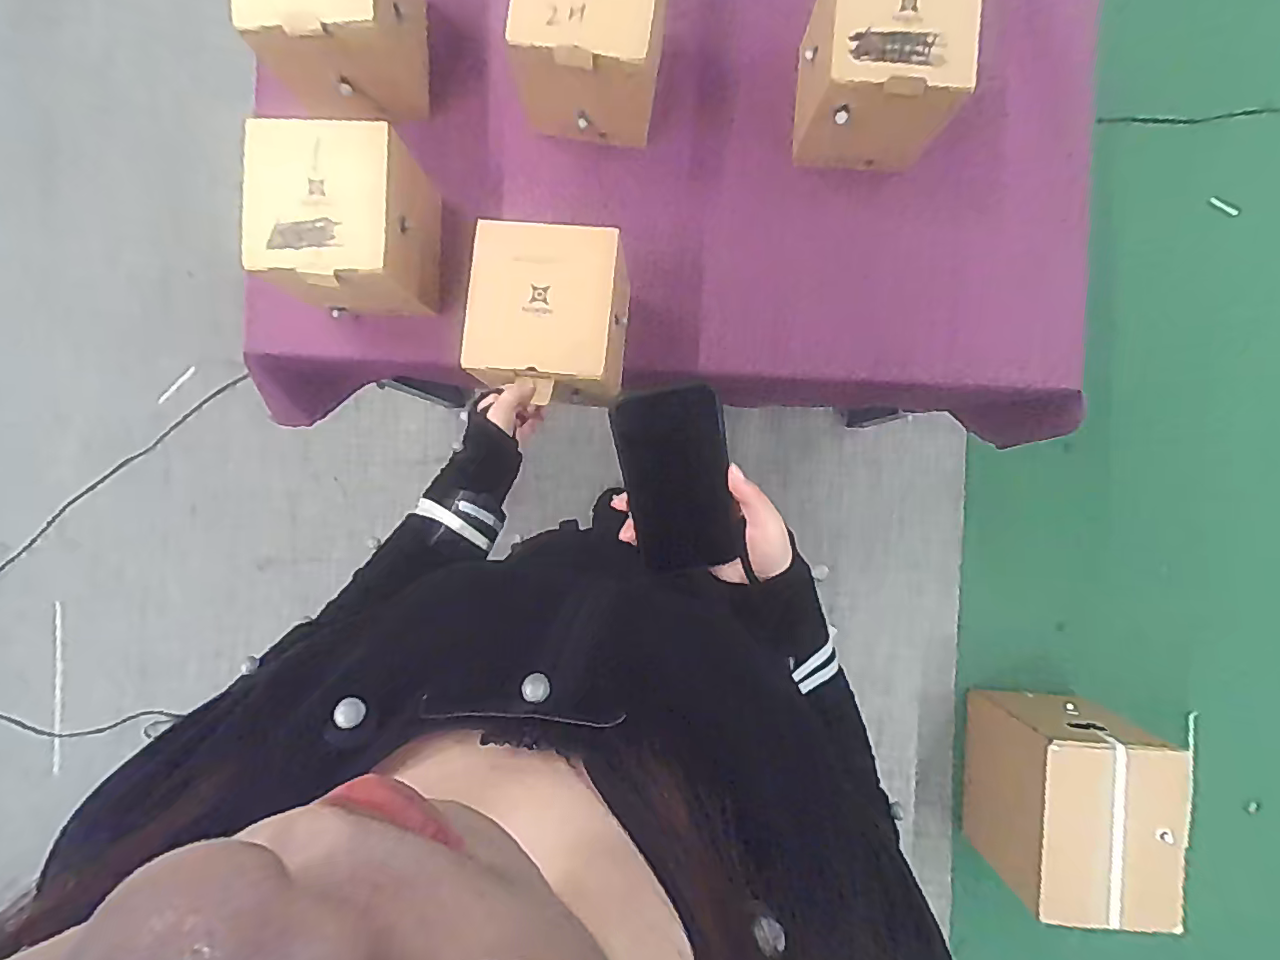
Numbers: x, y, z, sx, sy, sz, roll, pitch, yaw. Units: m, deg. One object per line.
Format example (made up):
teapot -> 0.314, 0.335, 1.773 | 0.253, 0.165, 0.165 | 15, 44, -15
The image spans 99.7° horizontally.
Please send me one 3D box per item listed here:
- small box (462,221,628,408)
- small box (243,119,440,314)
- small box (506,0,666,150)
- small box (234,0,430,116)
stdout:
small box -> -0.108, -0.197, 0.690 | 0.168, 0.176, 0.179 | 7, 86, 3
small box -> -0.370, -0.325, 0.699 | 0.168, 0.176, 0.179 | 2, 89, 0
small box -> -0.059, -0.571, 0.696 | 0.168, 0.176, 0.179 | 10, 91, 1
small box -> -0.384, -0.604, 0.699 | 0.168, 0.176, 0.179 | -2, 91, 0
